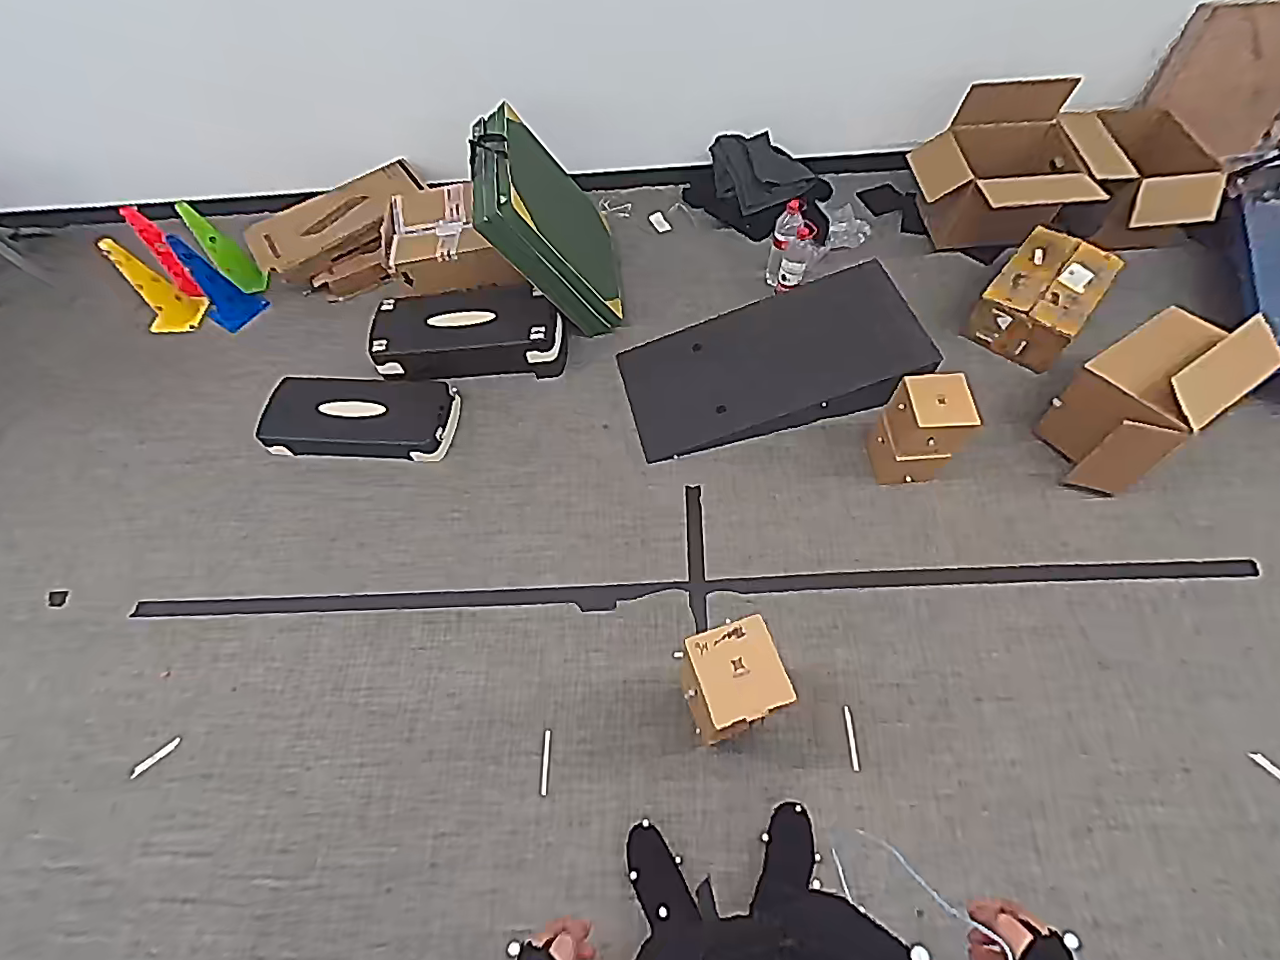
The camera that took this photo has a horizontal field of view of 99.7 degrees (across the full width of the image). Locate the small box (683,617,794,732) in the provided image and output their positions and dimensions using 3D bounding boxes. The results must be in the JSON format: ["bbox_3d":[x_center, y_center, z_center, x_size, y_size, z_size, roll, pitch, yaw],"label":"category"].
[{"bbox_3d":[0.193,0.405,1.113,0.168,0.176,0.179,-17,63,-6],"label":"small box"}]
